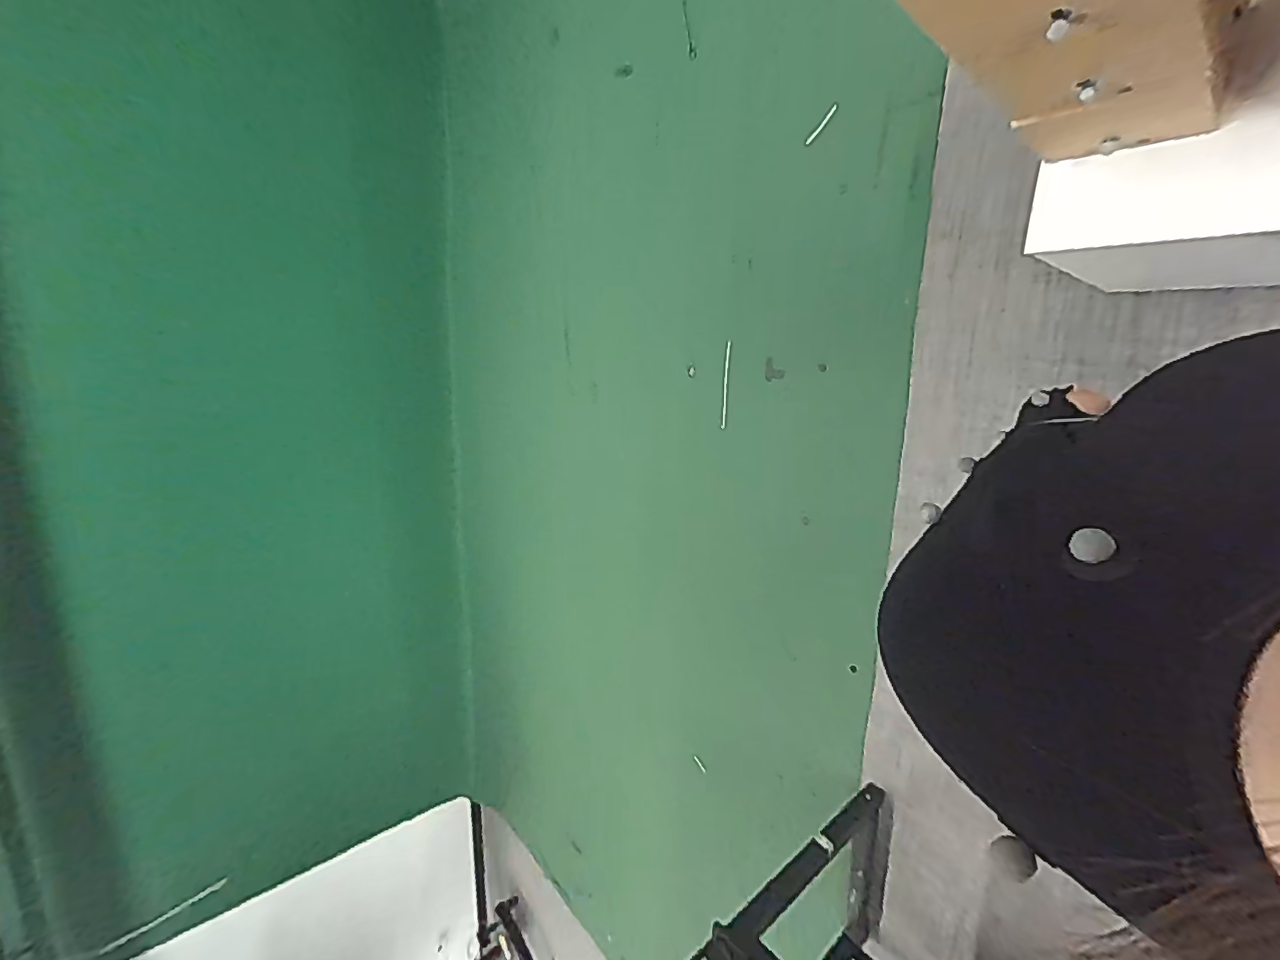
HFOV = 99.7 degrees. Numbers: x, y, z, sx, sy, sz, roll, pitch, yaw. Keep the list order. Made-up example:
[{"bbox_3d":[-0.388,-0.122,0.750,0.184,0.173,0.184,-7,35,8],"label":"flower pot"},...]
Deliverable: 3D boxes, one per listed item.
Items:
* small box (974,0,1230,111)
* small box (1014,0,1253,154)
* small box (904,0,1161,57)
[{"bbox_3d":[0.434,-0.482,0.497,0.168,0.176,0.179,19,111,46],"label":"small box"},{"bbox_3d":[0.555,-0.499,0.607,0.168,0.176,0.179,17,111,47],"label":"small box"},{"bbox_3d":[0.314,-0.452,0.389,0.179,0.176,0.168,18,111,45],"label":"small box"}]
